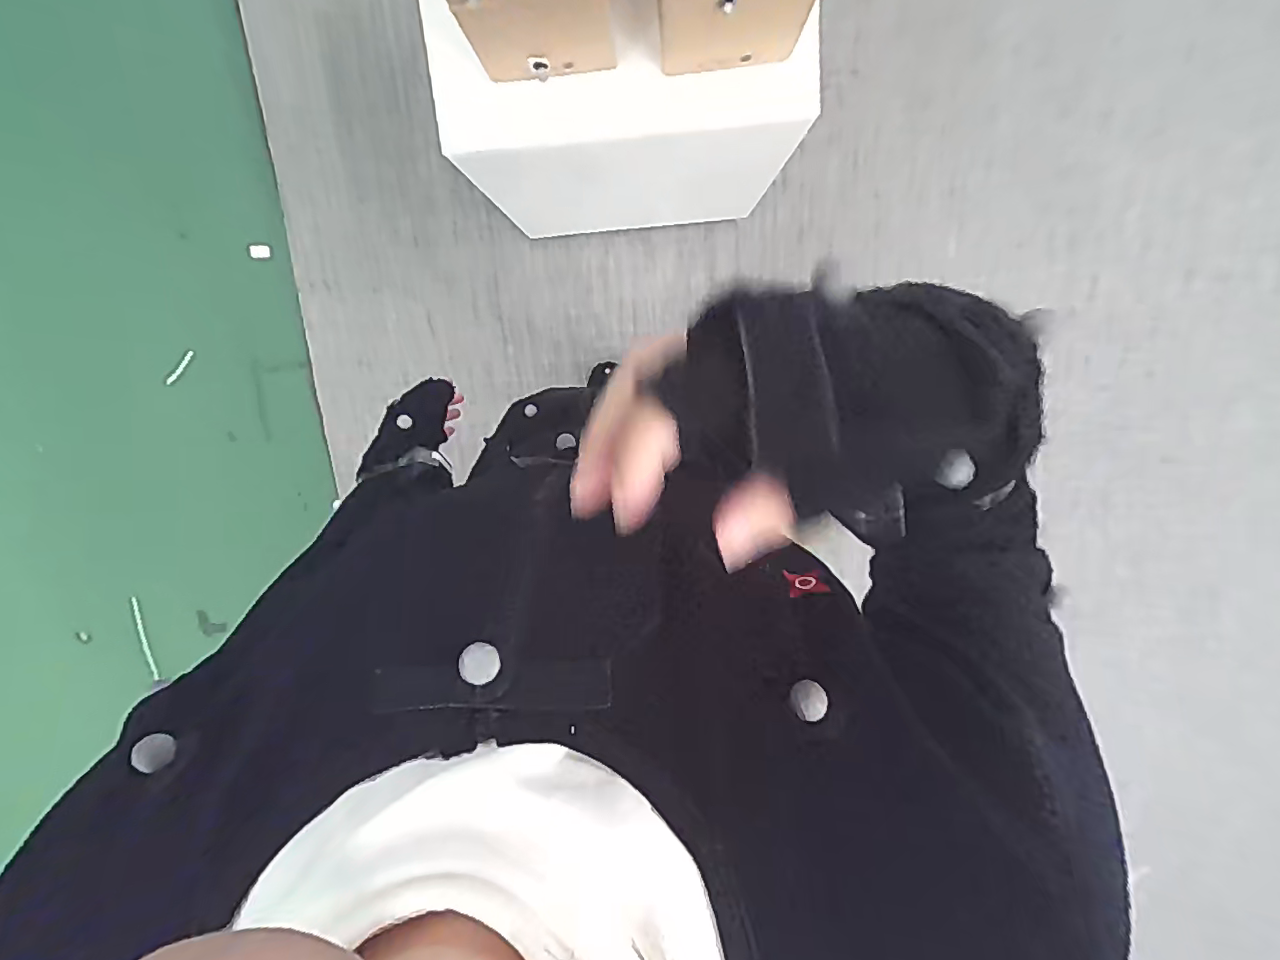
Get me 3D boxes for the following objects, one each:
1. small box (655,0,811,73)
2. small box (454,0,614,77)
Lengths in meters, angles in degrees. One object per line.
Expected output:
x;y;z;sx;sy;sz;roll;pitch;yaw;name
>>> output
0.098;-0.604;0.606;0.168;0.176;0.179;-5;102;2;small box
-0.122;-0.594;0.600;0.168;0.176;0.179;-6;104;3;small box
